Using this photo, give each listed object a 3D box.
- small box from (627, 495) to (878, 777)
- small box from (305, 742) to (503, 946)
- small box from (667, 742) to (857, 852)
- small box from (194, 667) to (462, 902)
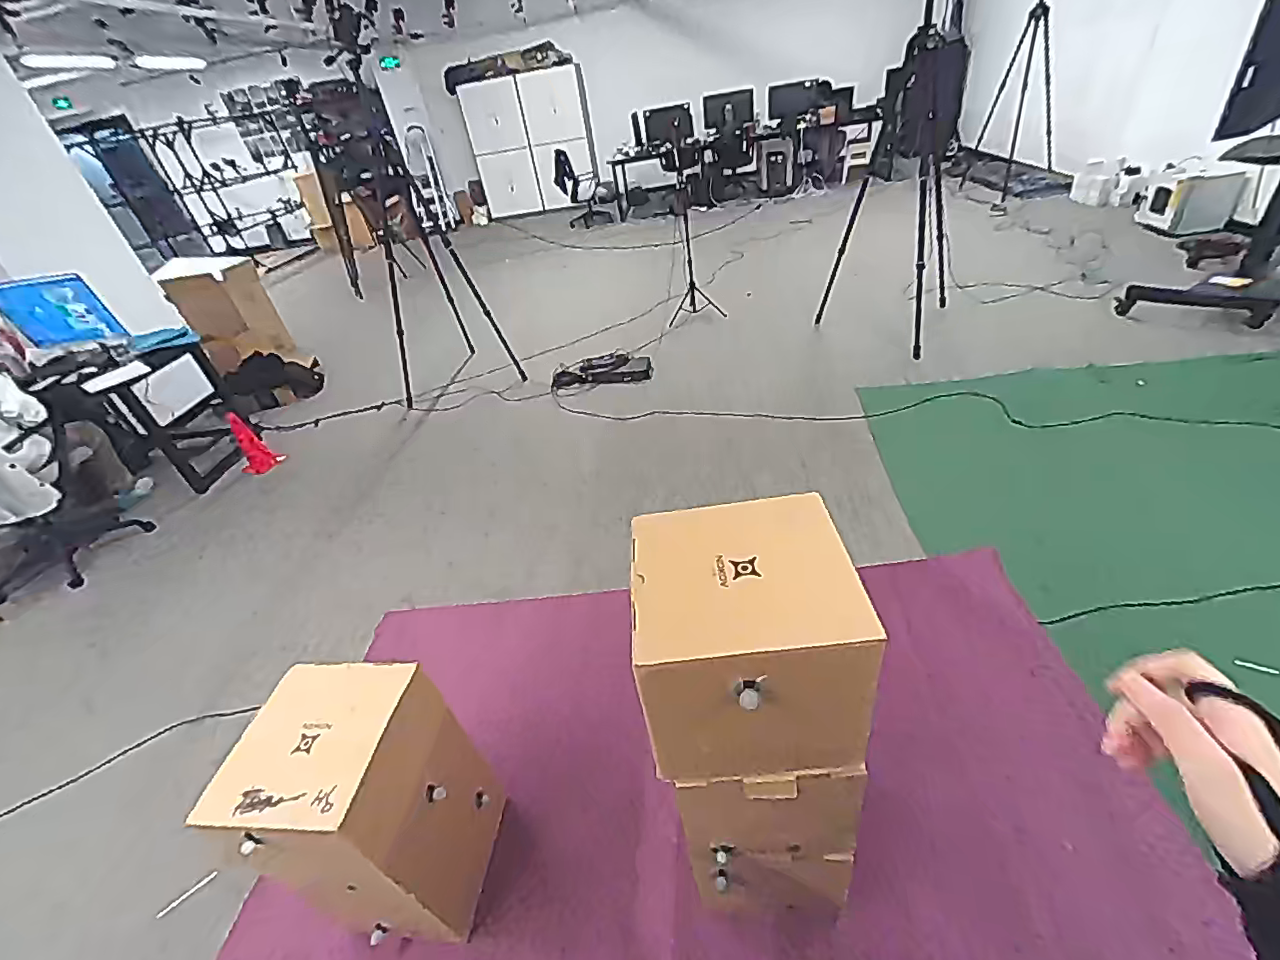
[{"bbox_3d":[0.089,0.138,0.482,0.179,0.176,0.168,-9,35,6],"label":"small box"},{"bbox_3d":[-0.295,0.467,0.706,0.168,0.176,0.179,-5,37,11],"label":"small box"},{"bbox_3d":[0.120,0.269,0.574,0.168,0.176,0.179,-7,34,6],"label":"small box"},{"bbox_3d":[-0.323,0.335,0.610,0.168,0.176,0.179,-6,35,11],"label":"small box"}]
